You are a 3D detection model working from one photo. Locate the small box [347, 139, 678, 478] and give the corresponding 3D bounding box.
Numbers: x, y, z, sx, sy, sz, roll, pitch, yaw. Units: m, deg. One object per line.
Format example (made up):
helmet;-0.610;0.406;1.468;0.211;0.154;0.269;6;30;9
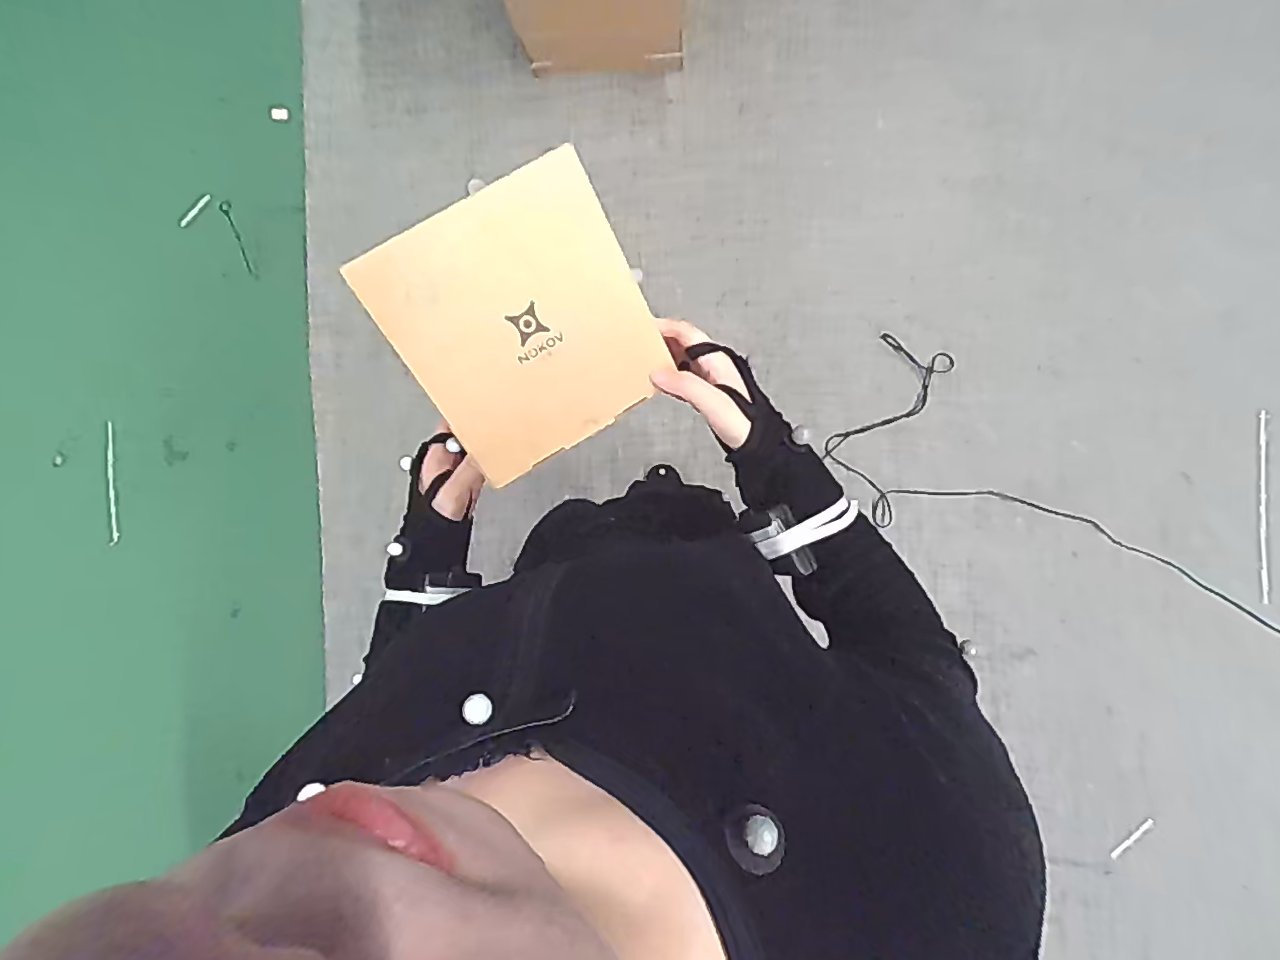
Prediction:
small box;-0.099;-0.134;0.442;0.168;0.176;0.179;-31;117;-5
